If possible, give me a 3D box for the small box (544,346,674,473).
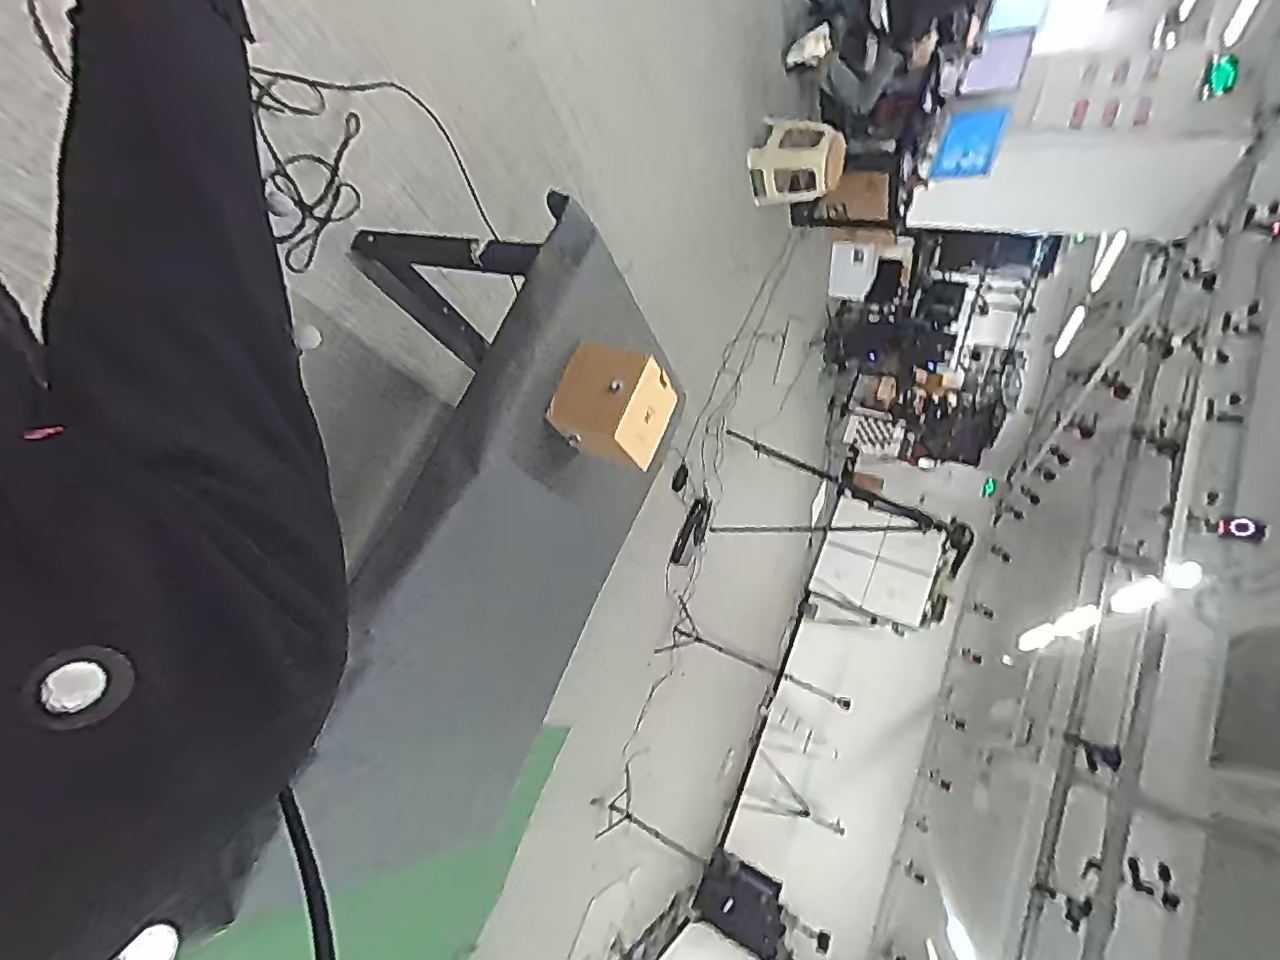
[{"bbox_3d":[-0.060,-0.142,1.069,0.179,0.176,0.168,-65,151,-12],"label":"small box"}]
